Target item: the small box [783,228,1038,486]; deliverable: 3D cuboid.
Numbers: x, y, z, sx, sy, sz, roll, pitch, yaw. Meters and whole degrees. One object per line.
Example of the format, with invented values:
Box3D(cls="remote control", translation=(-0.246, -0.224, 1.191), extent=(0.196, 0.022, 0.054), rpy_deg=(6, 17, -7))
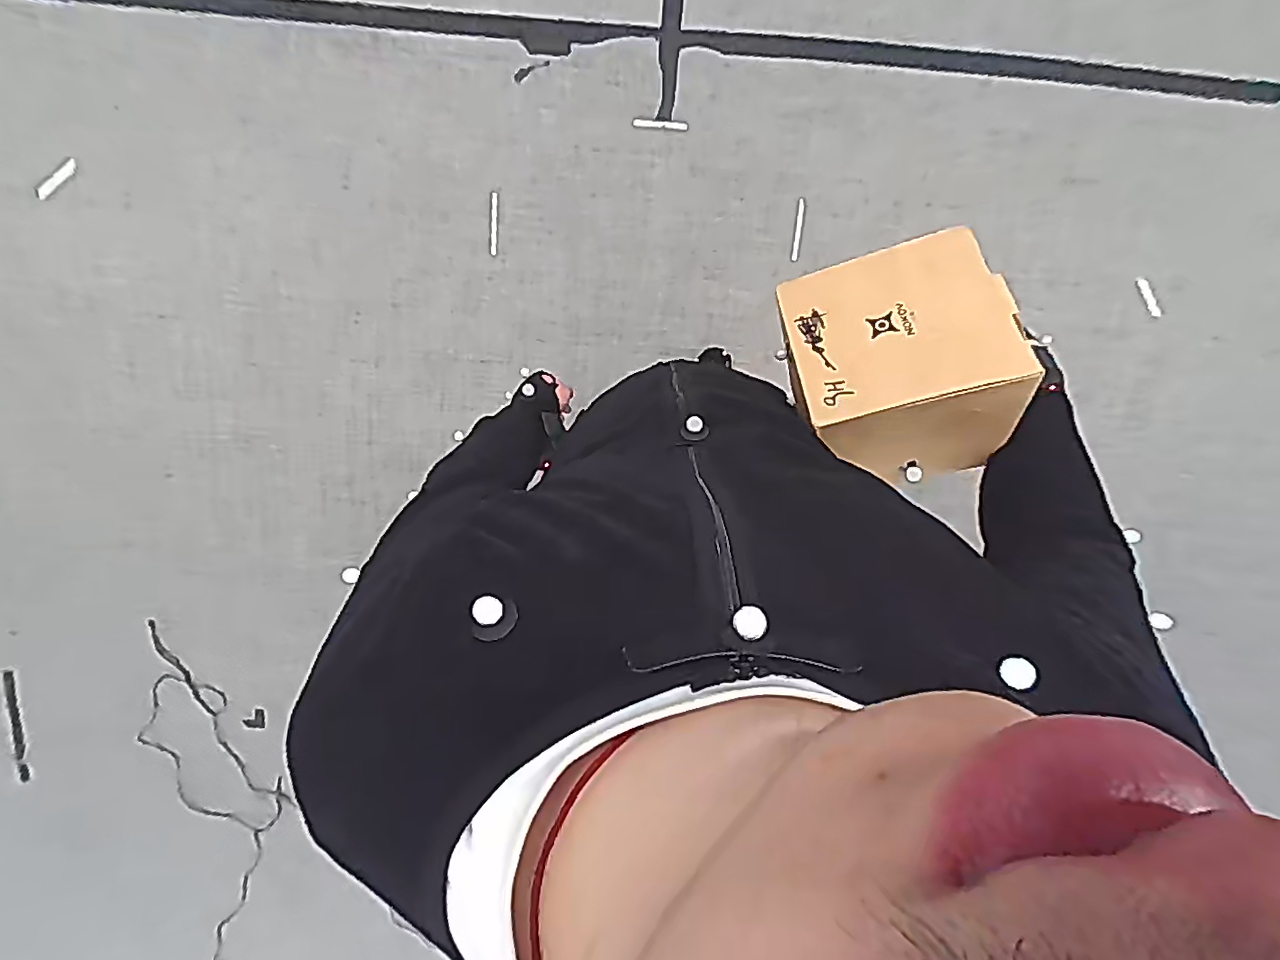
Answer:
Box3D(cls="small box", translation=(0.255, -0.111, 0.553), extent=(0.179, 0.176, 0.168), rpy_deg=(-13, 62, 15))
